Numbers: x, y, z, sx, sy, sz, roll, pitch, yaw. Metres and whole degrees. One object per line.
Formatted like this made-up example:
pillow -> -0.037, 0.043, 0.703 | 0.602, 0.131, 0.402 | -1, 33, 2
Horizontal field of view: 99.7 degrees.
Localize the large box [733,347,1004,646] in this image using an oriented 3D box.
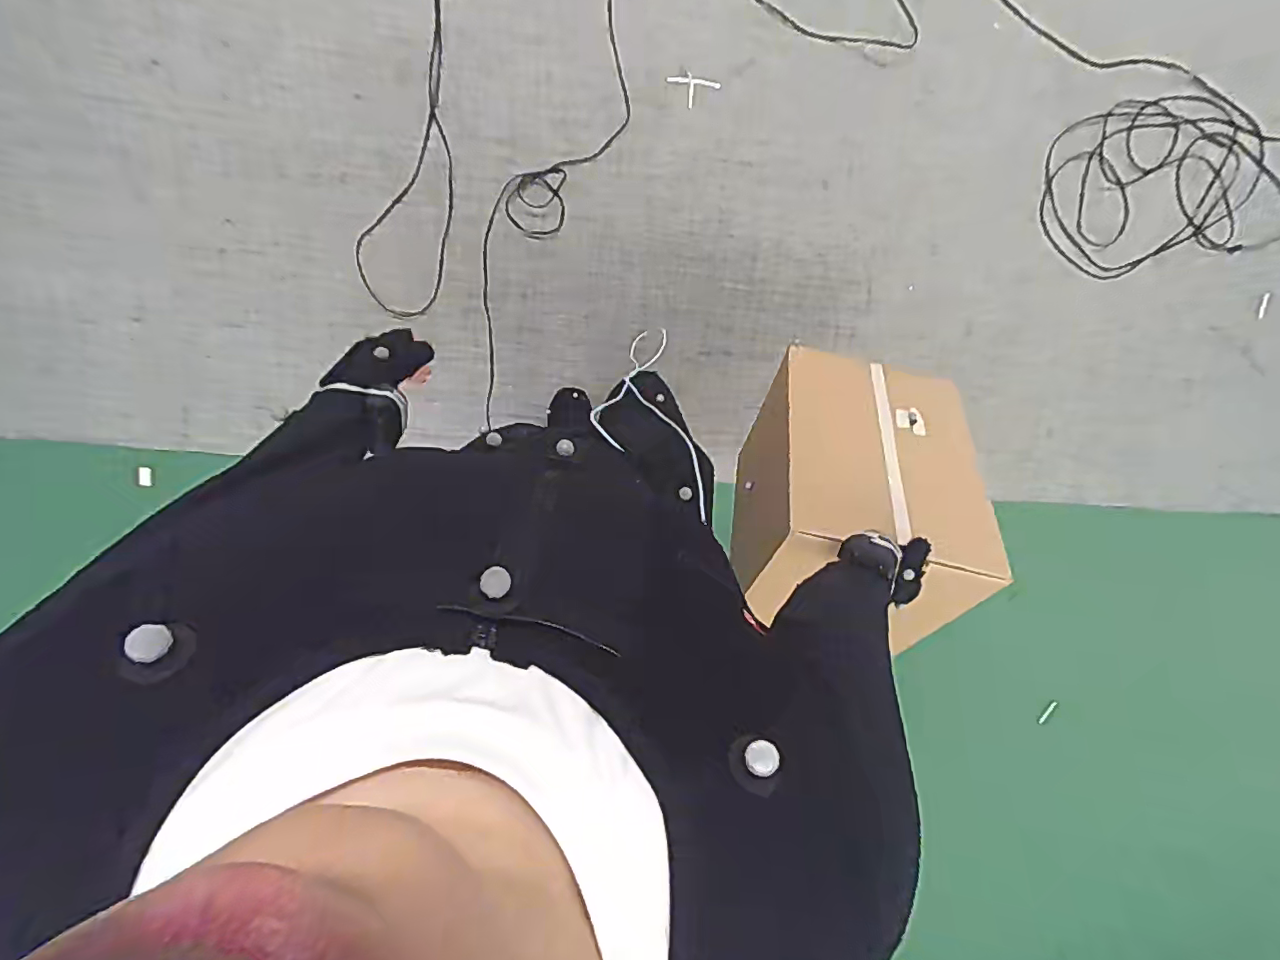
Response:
large box -> 0.363, 0.034, 0.976 | 0.320, 0.408, 0.320 | 14, 142, -2
